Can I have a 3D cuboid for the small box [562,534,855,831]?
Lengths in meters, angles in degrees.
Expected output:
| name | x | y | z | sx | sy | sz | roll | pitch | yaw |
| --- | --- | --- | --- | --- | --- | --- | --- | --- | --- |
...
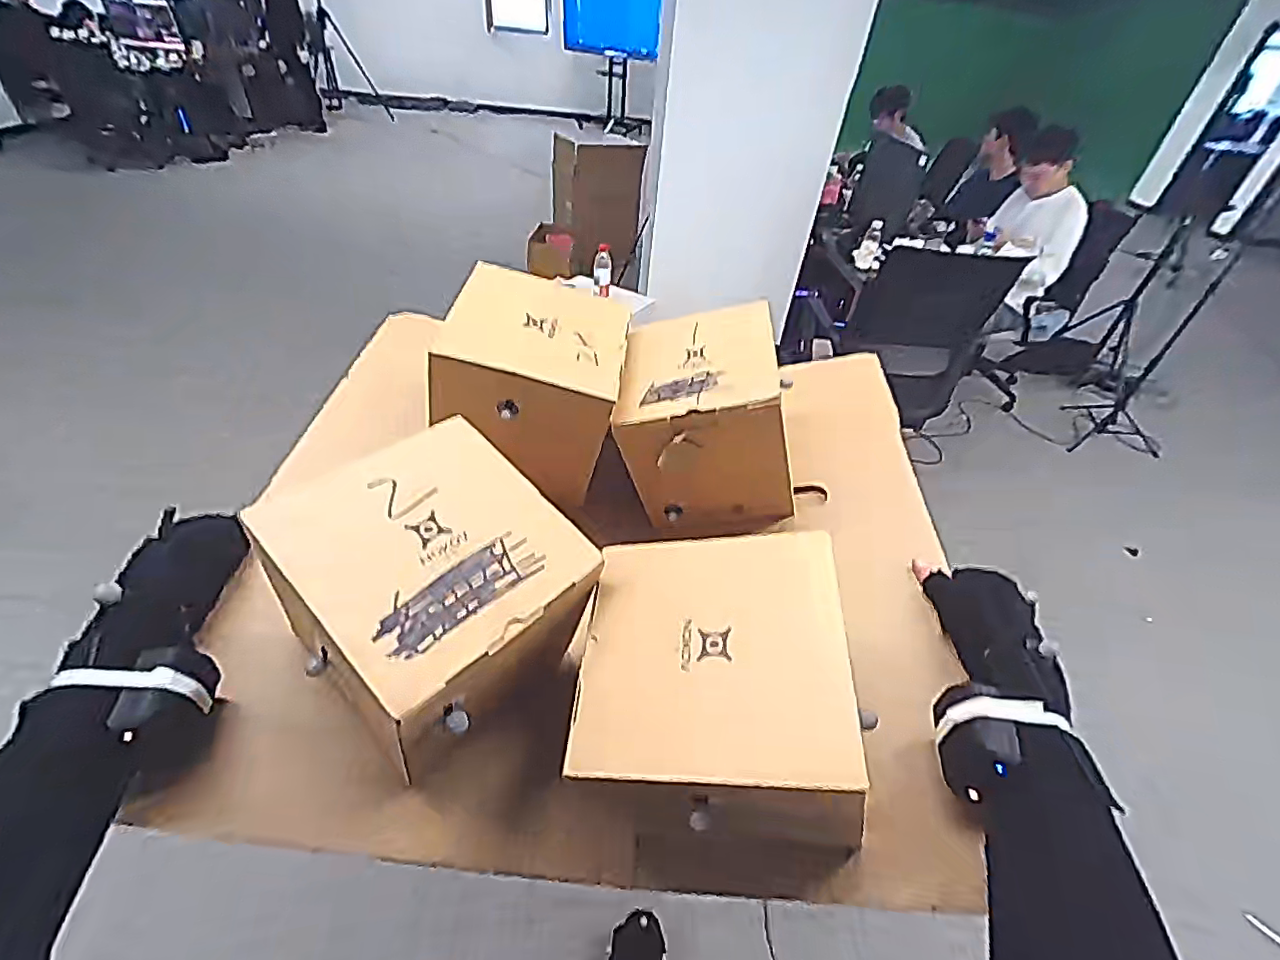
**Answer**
| name | x | y | z | sx | sy | sz | roll | pitch | yaw |
| --- | --- | --- | --- | --- | --- | --- | --- | --- | --- |
| small box | 0.065 | 0.160 | 0.422 | 0.179 | 0.176 | 0.168 | -7 | 47 | 17 |
